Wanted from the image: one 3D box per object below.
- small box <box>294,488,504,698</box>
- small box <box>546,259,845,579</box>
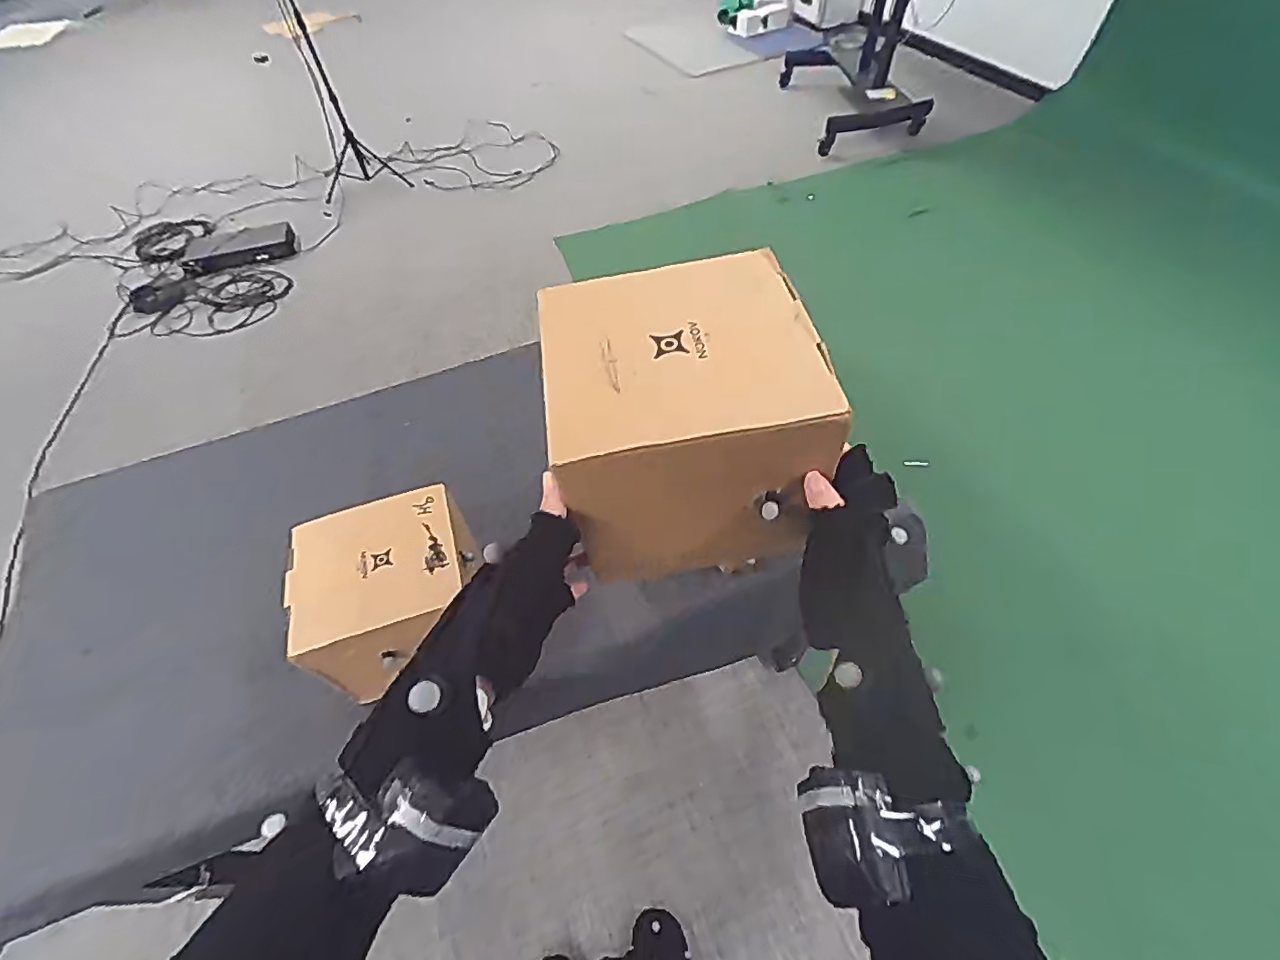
[{"bbox_3d":[-0.284,0.142,0.662,0.179,0.176,0.168,-17,54,-9],"label":"small box"},{"bbox_3d":[0.034,-0.040,0.428,0.179,0.176,0.168,-11,54,0],"label":"small box"}]
